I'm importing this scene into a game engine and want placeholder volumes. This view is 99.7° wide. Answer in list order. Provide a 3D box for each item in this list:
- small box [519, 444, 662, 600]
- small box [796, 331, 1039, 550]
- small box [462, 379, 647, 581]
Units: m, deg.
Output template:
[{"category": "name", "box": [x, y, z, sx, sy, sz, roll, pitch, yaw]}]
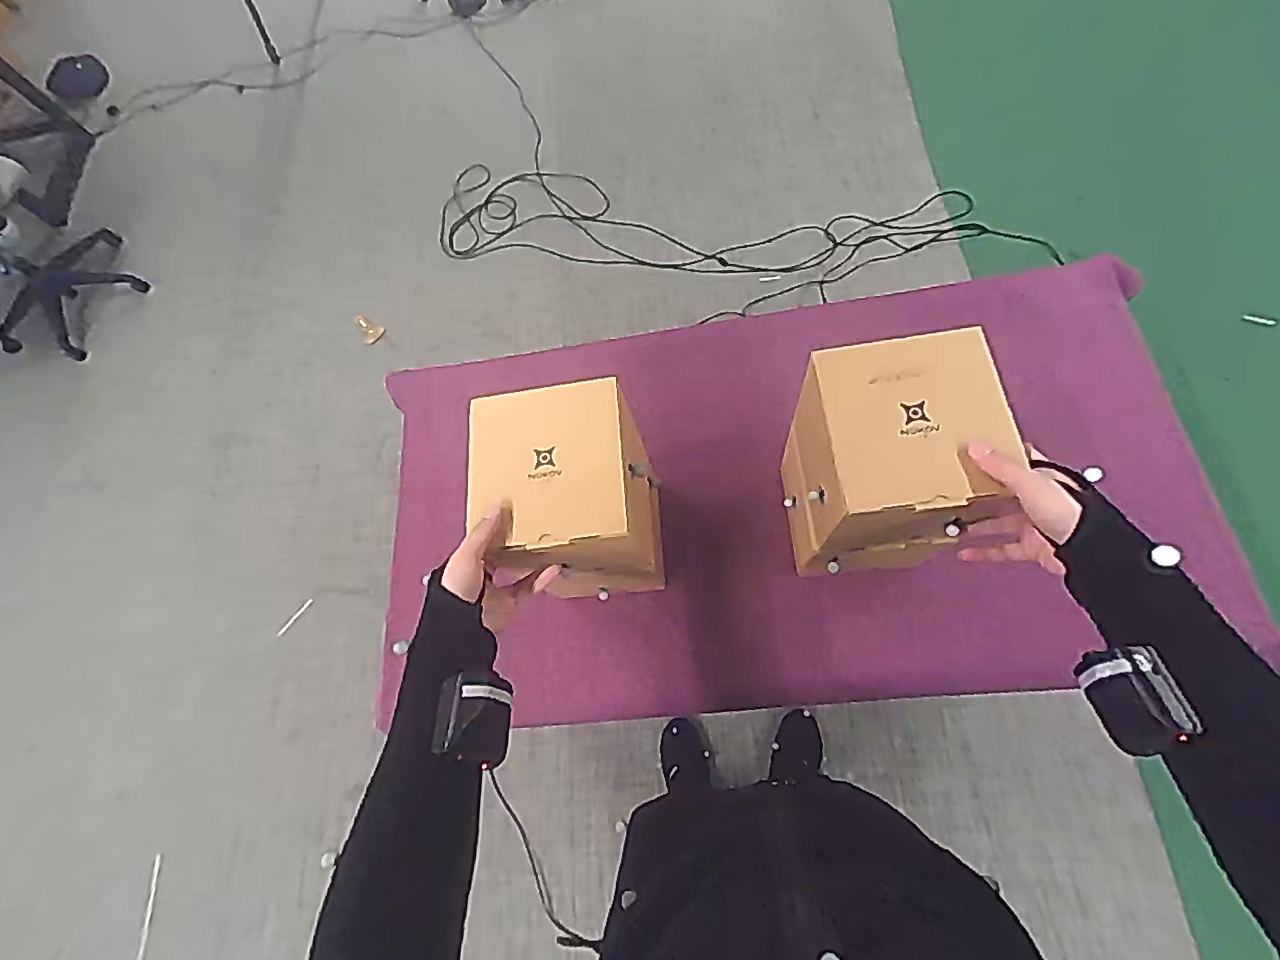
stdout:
[{"category": "small box", "box": [-0.062, 0.067, 0.769, 0.168, 0.176, 0.179, -6, 70, 7]}, {"category": "small box", "box": [0.270, -0.028, 0.574, 0.168, 0.176, 0.179, -7, 69, 6]}, {"category": "small box", "box": [-0.087, 0.010, 0.619, 0.168, 0.176, 0.179, -7, 70, 6]}]
